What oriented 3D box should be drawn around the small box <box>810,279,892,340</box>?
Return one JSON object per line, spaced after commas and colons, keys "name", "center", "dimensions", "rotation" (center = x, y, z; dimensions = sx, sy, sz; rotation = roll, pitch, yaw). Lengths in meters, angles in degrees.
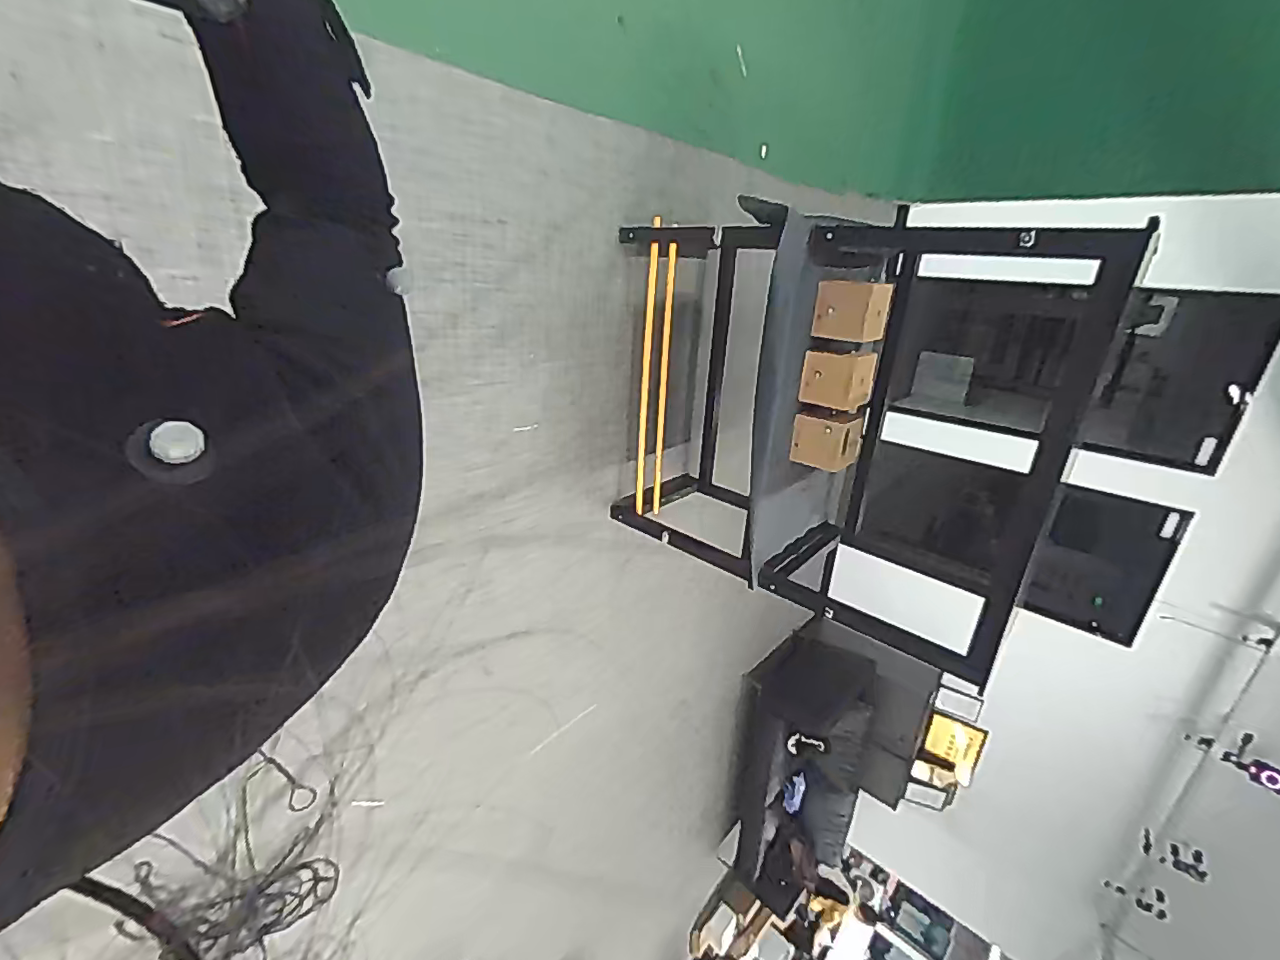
{"name": "small box", "center": [0.656, -0.536, 1.686], "dimensions": [0.179, 0.176, 0.168], "rotation": [-21, 122, -44]}
